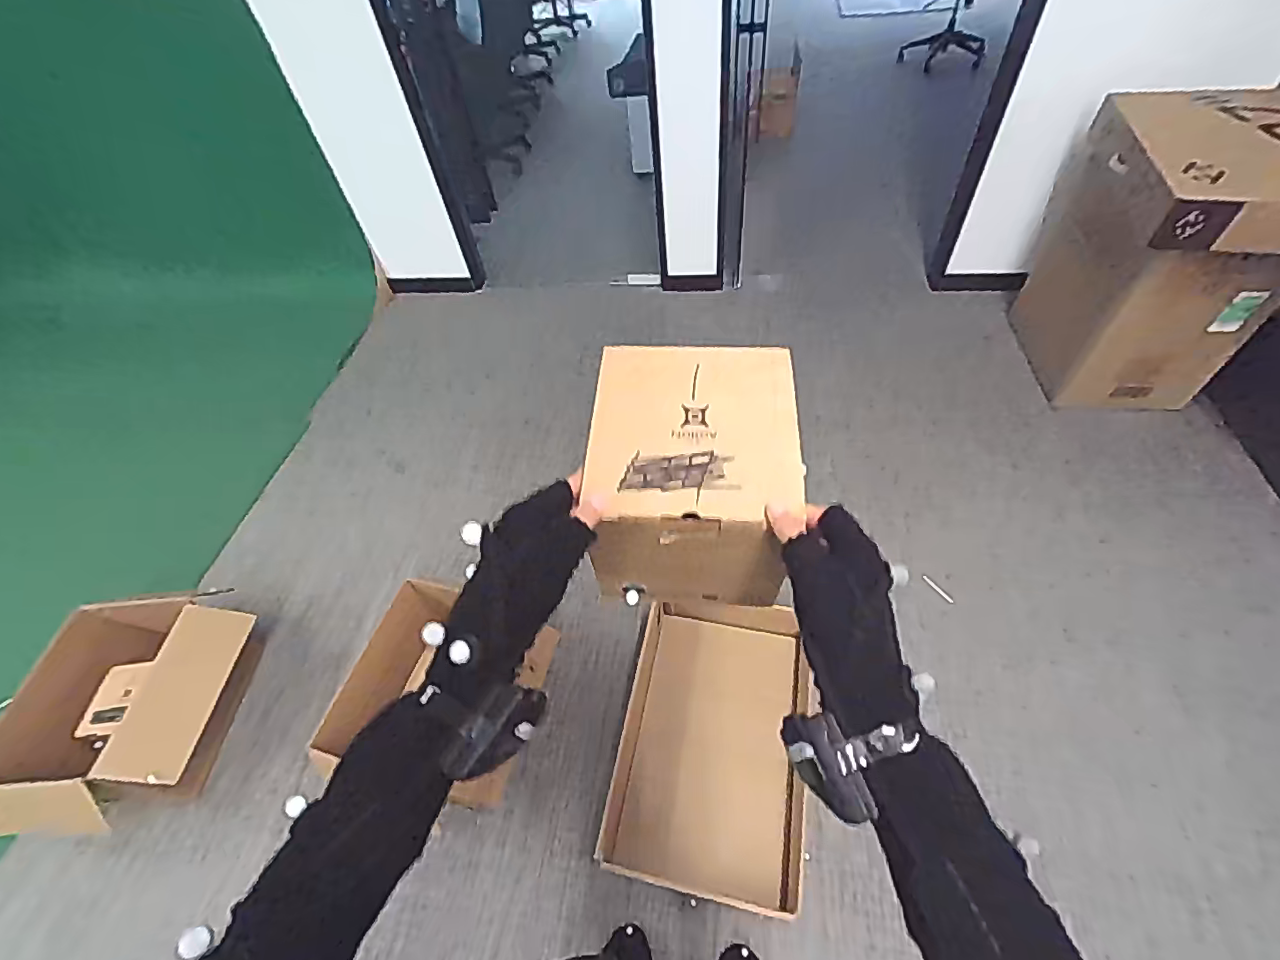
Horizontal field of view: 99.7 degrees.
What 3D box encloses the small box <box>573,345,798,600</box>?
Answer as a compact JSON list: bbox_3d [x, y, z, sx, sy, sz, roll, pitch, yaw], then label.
[{"bbox_3d":[0.044,-0.002,0.496,0.168,0.176,0.179,2,56,5],"label":"small box"}]
